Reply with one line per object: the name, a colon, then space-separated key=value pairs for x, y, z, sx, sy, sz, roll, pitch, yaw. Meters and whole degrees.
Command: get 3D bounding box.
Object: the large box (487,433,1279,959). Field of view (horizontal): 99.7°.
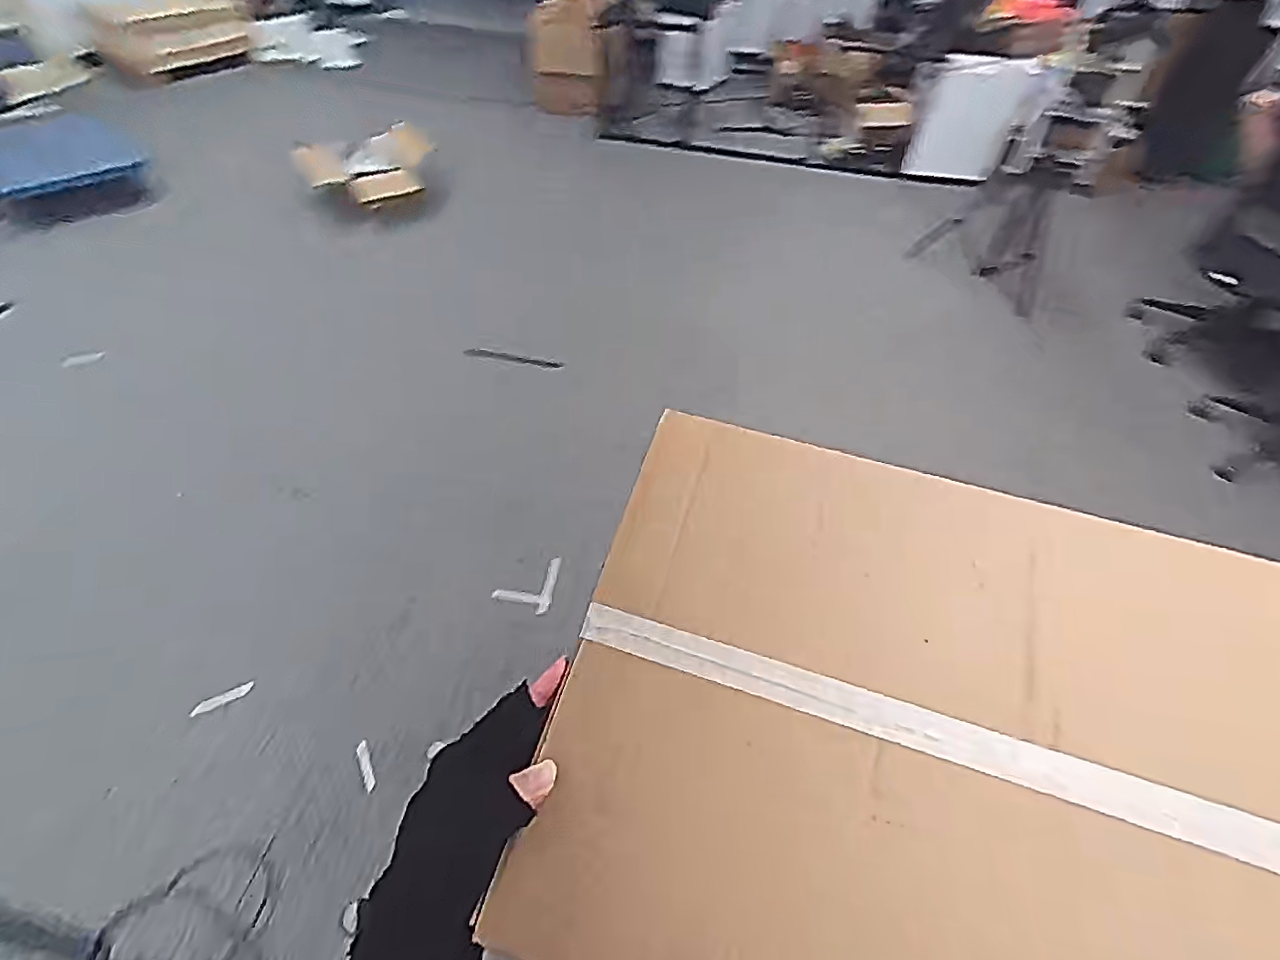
large box: x=0.159 y=0.205 z=0.430 sx=0.408 sy=0.320 sz=0.320 roll=14 pitch=66 yaw=10
